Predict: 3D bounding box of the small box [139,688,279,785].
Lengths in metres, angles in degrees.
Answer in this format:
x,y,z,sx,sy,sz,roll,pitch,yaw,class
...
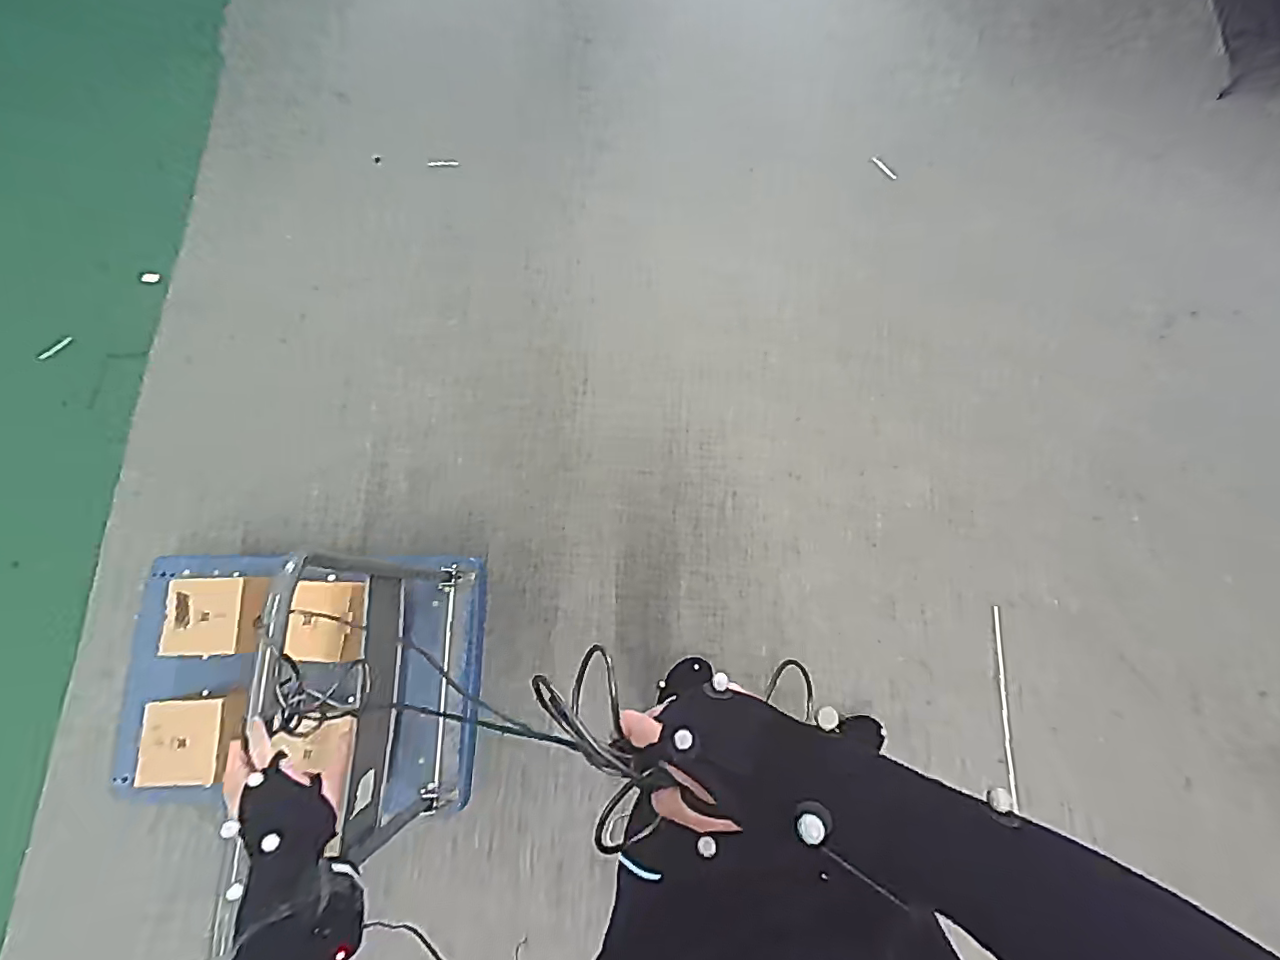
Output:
x,y,z,sx,sy,sz,roll,pitch,yaw,class
-0.951,0.566,1.211,0.179,0.176,0.168,-3,77,4,small box

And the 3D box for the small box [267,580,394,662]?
x,y,z,sx,sy,sz,roll,pitch,yaw,class
-0.702,0.321,1.244,0.179,0.176,0.168,2,78,4,small box

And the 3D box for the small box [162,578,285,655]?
x,y,z,sx,sy,sz,roll,pitch,yaw,class
-0.948,0.315,1.263,0.179,0.176,0.168,-2,79,3,small box
